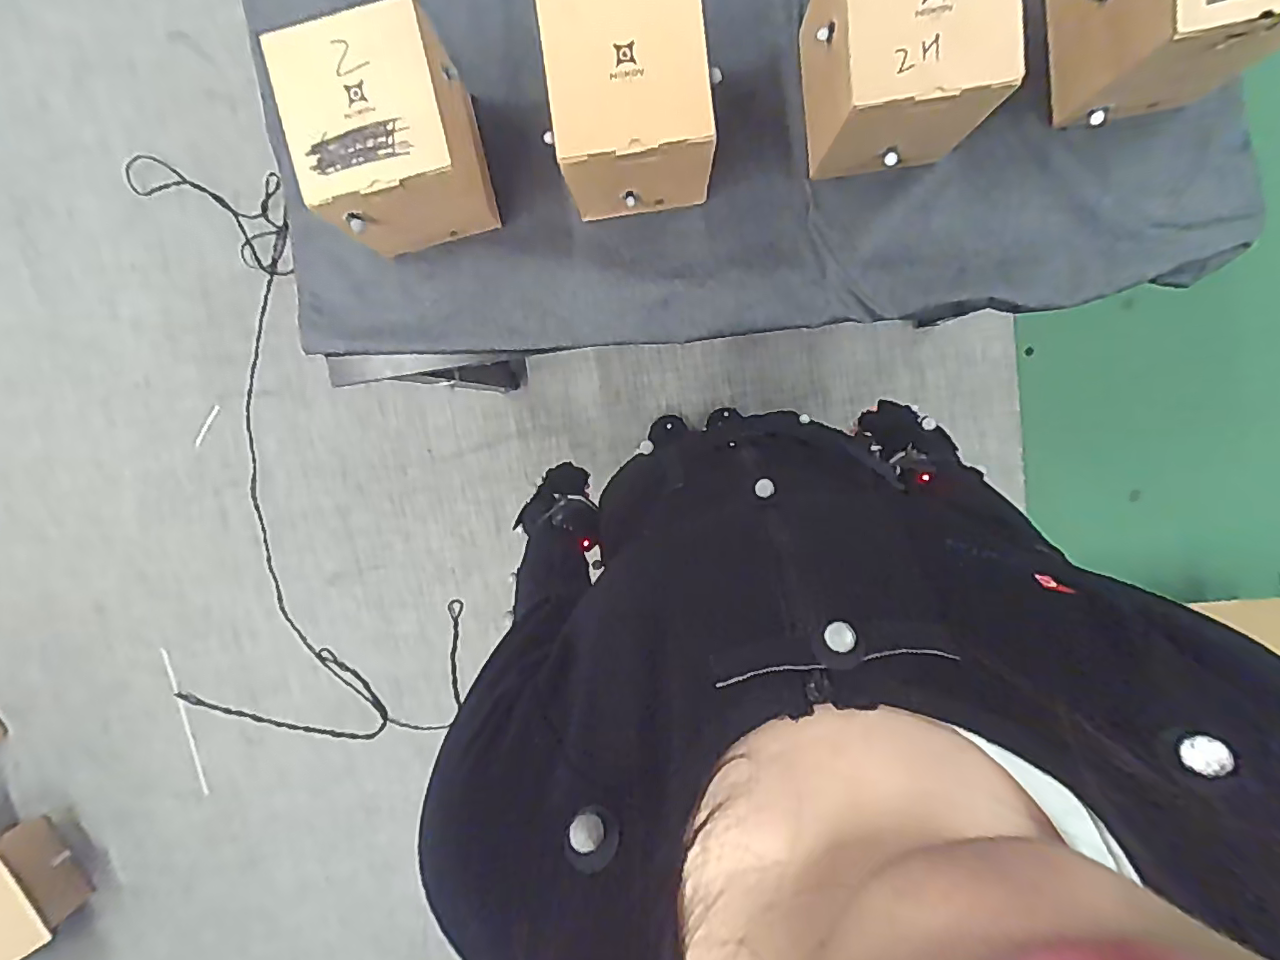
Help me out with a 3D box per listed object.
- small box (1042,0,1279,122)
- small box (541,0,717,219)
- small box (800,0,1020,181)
[{"bbox_3d":[0.579,-0.524,0.589,0.168,0.176,0.179,-8,96,3],"label":"small box"},{"bbox_3d":[-0.010,-0.429,0.623,0.168,0.176,0.179,-7,97,2],"label":"small box"},{"bbox_3d":[0.285,-0.470,0.606,0.168,0.176,0.179,-7,96,3],"label":"small box"}]
